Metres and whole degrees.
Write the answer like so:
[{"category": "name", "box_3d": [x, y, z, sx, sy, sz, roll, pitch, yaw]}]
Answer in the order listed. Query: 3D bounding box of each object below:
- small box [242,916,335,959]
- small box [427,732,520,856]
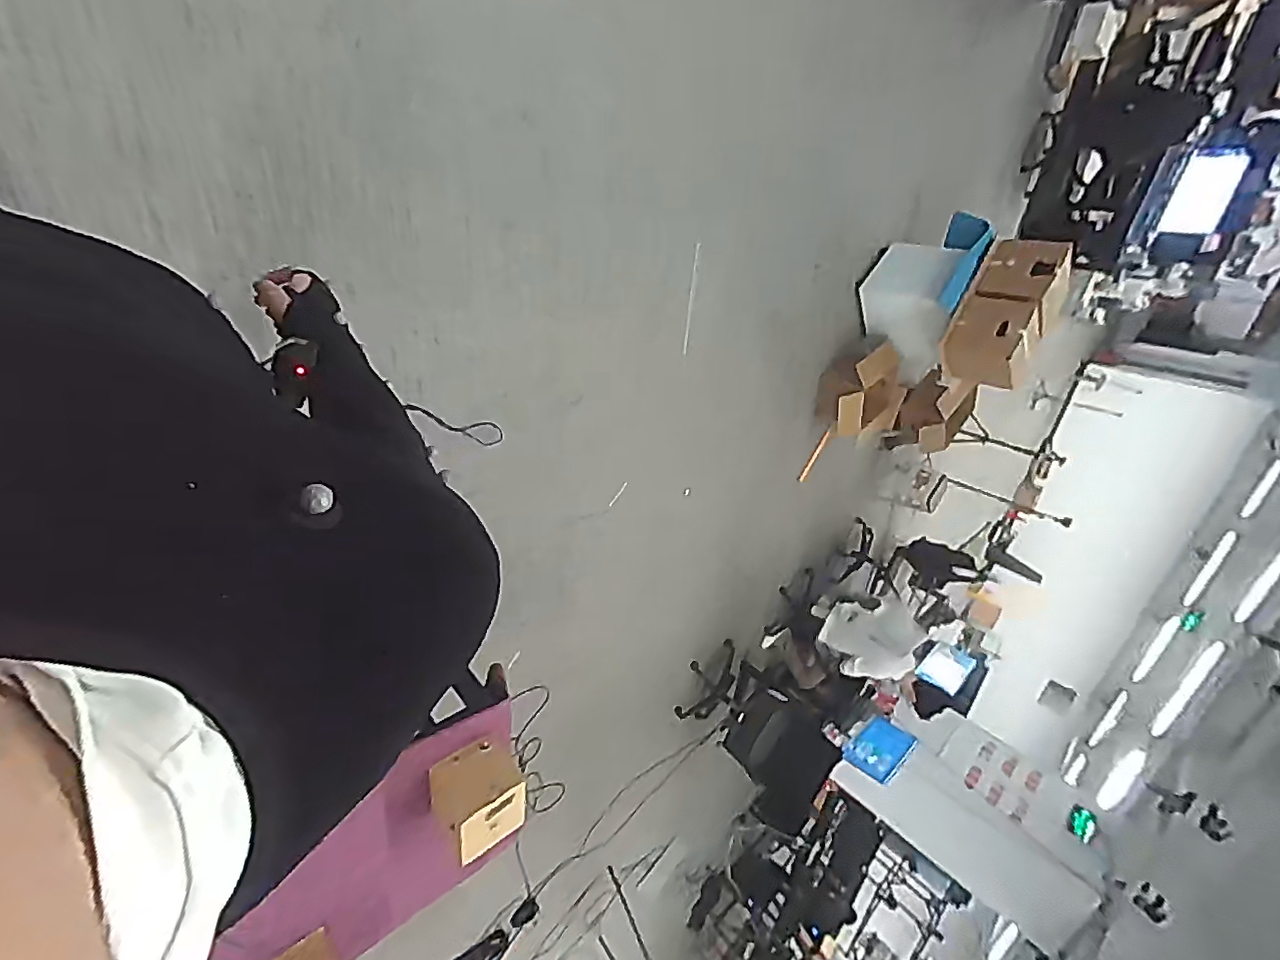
[{"category": "small box", "box_3d": [-0.769, 1.133, 1.198, 0.168, 0.176, 0.179, -14, 121, -39]}, {"category": "small box", "box_3d": [-0.410, 0.753, 1.325, 0.168, 0.176, 0.179, -16, 126, -39]}]
